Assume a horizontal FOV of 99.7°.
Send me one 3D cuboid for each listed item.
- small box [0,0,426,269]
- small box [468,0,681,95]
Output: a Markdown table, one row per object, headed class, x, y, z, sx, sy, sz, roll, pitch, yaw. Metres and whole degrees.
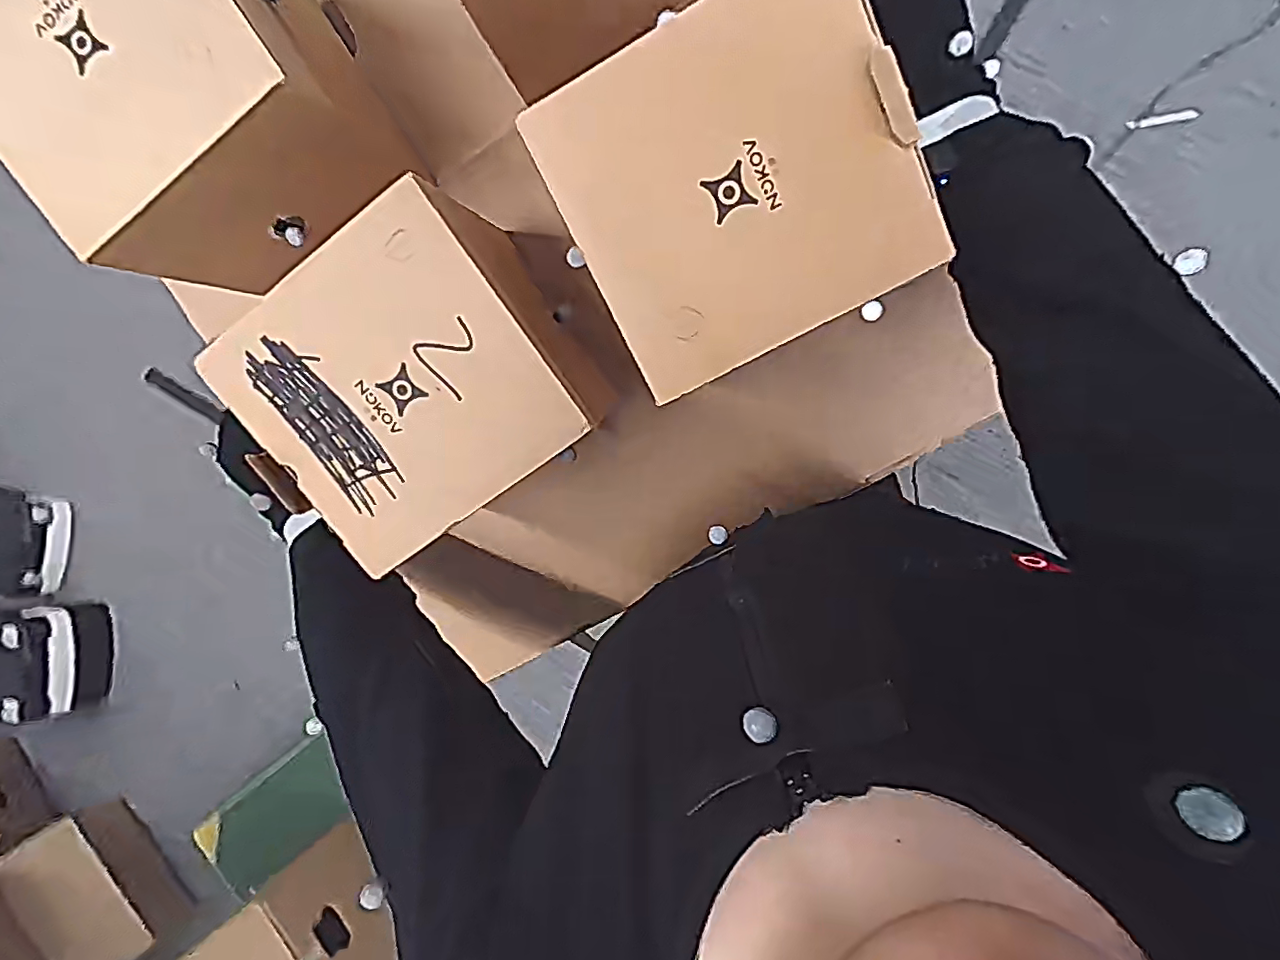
| class | x | y | z | sx | sy | sz | roll | pitch | yaw |
| --- | --- | --- | --- | --- | --- | --- | --- | --- | --- |
| small box | -0.283 | -0.264 | 0.363 | 0.168 | 0.176 | 0.179 | -30 | 96 | 10 |
| small box | -0.054 | -0.383 | 0.315 | 0.179 | 0.176 | 0.168 | -28 | 98 | 11 |
